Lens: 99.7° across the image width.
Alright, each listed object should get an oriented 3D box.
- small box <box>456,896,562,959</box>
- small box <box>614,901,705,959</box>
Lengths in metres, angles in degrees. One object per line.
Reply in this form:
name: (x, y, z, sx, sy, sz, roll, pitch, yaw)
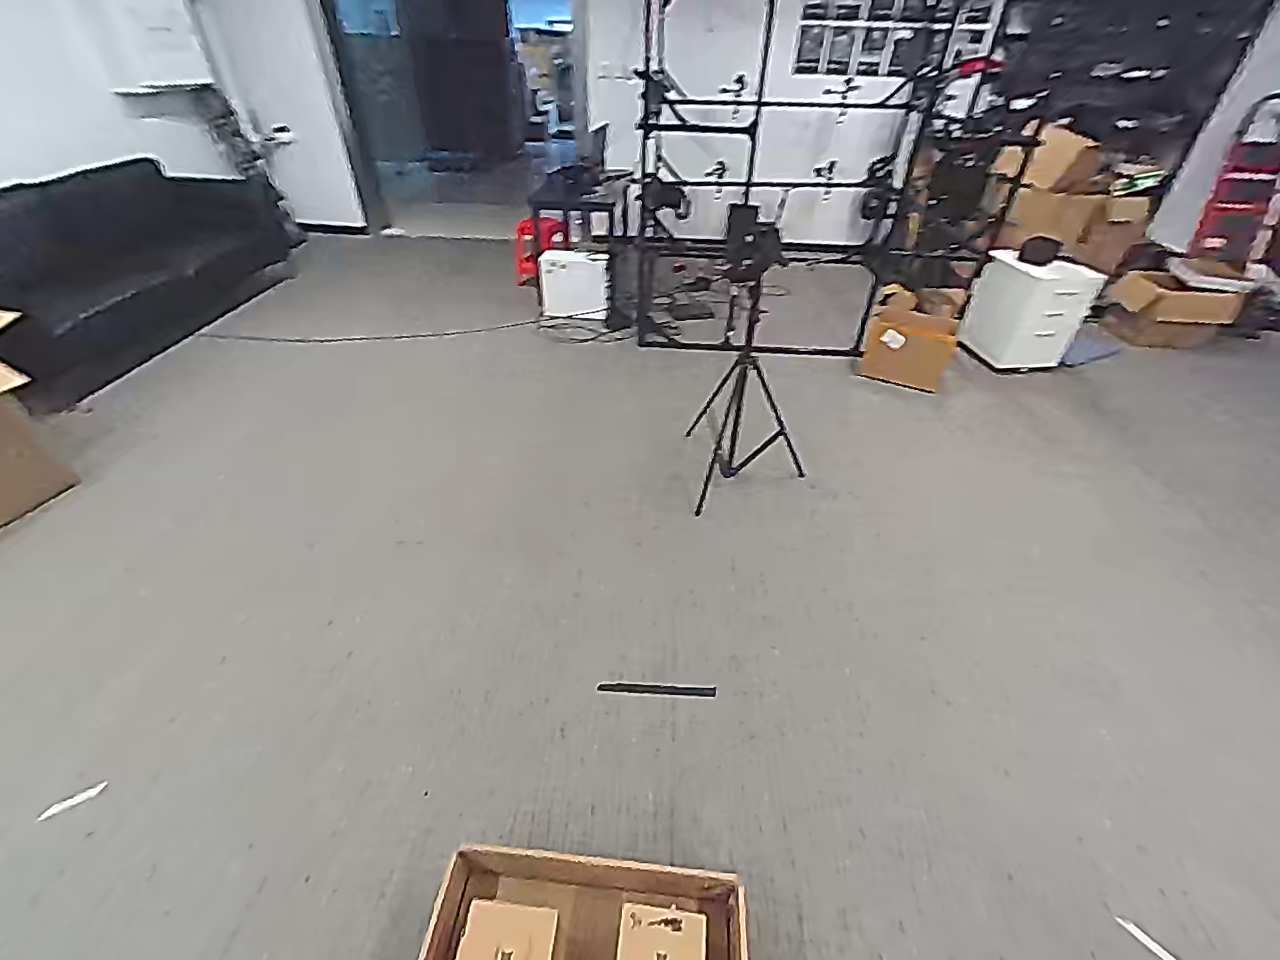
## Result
small box: (-0.255, 0.942, 1.052, 0.179, 0.176, 0.168, 5, 41, 2)
small box: (0.034, 0.955, 1.045, 0.168, 0.176, 0.179, 5, 40, 5)
